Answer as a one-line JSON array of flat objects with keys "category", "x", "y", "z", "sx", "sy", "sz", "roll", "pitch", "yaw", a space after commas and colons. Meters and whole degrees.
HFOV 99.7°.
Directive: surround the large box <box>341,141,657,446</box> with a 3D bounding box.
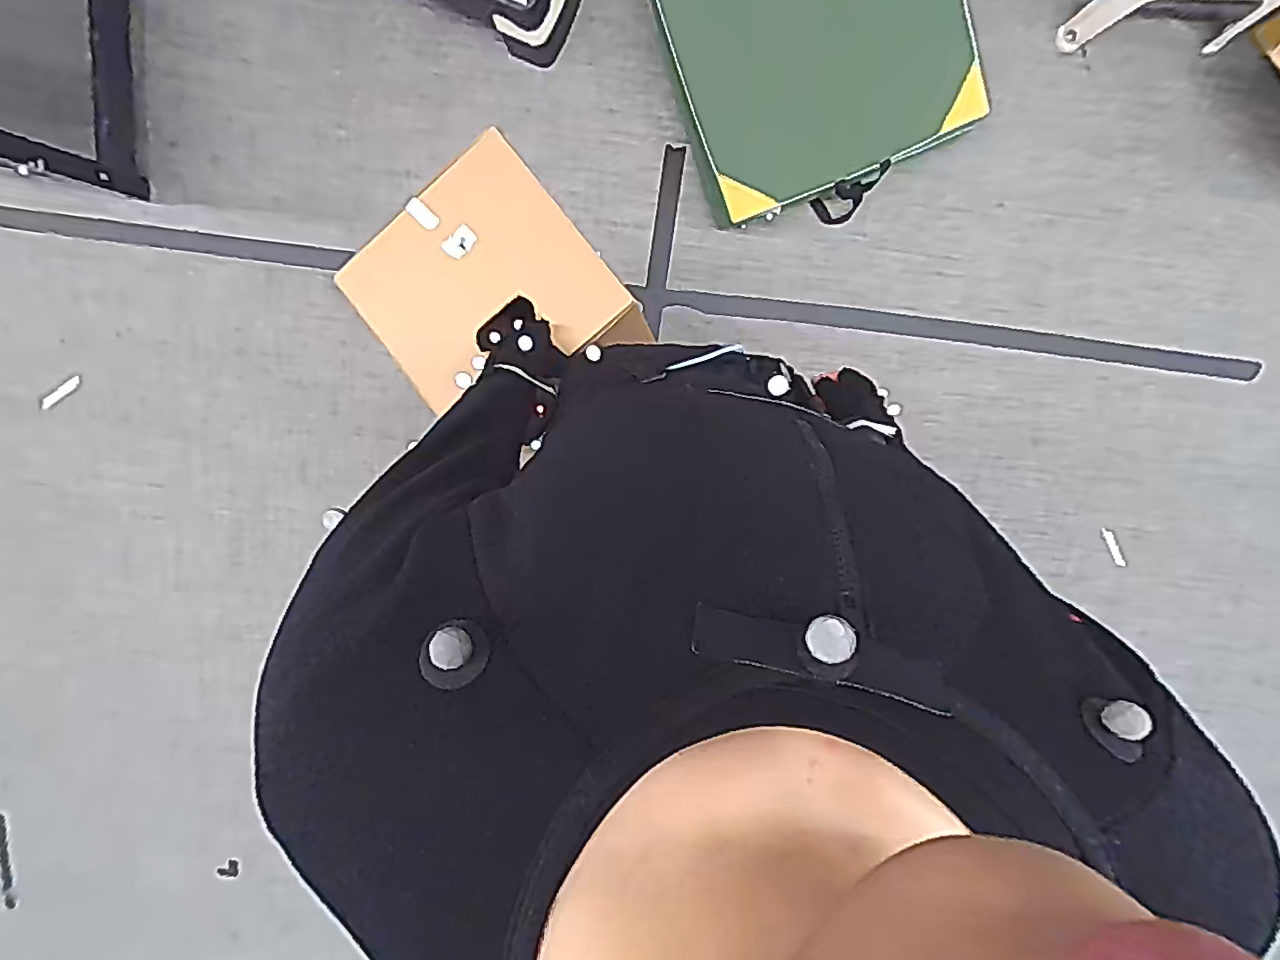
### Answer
[{"category": "large box", "x": -0.203, "y": -0.272, "z": 0.943, "sx": 0.320, "sy": 0.408, "sz": 0.320, "roll": -38, "pitch": 87, "yaw": 8}]
